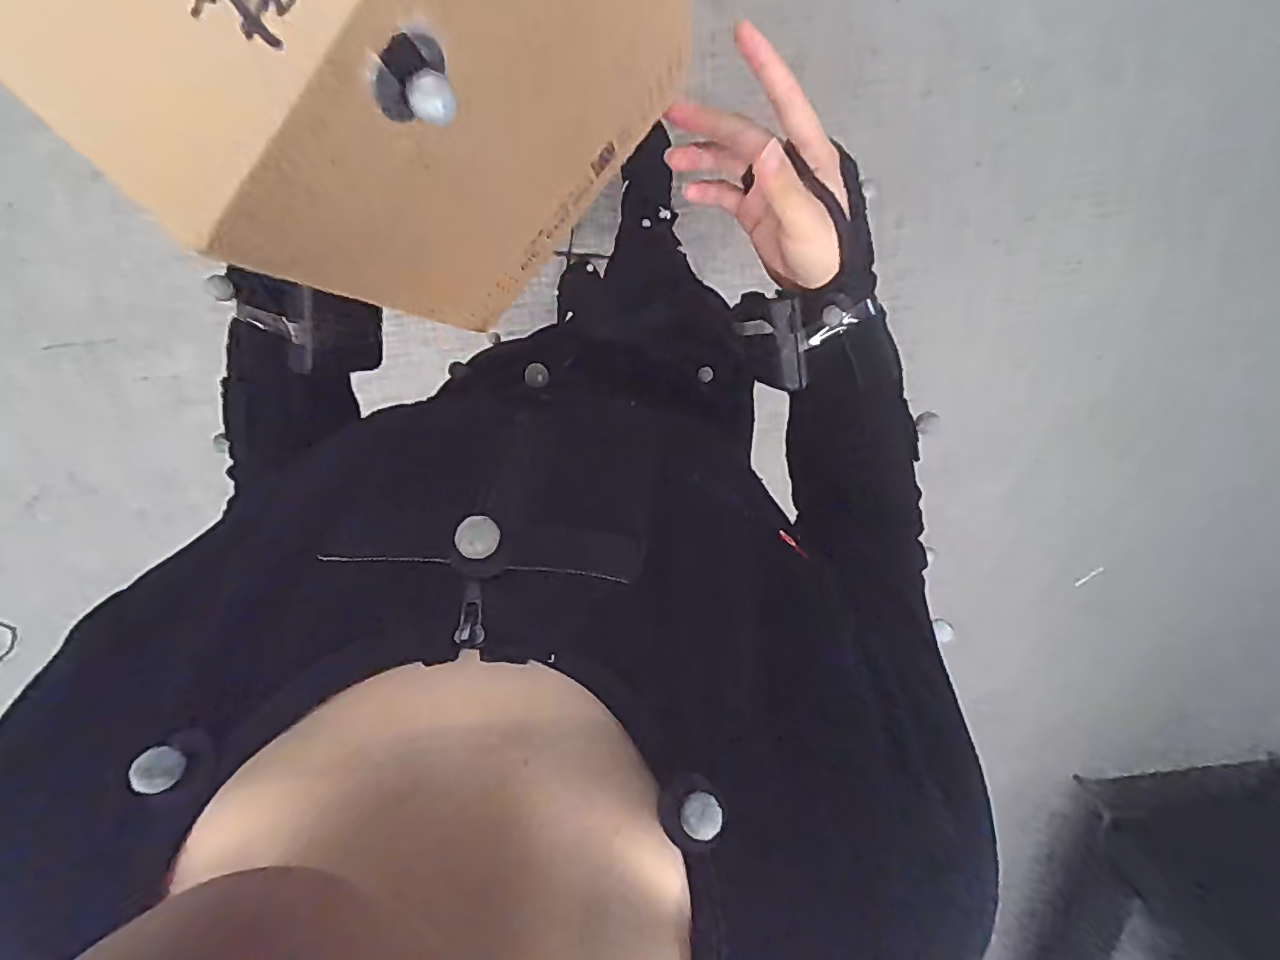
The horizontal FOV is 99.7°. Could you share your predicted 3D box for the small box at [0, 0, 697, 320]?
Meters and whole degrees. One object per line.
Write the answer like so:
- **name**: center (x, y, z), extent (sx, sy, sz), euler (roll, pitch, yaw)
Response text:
- **small box**: center (-0.096, -0.182, 0.203), extent (0.179, 0.176, 0.168), euler (41, 102, 0)
